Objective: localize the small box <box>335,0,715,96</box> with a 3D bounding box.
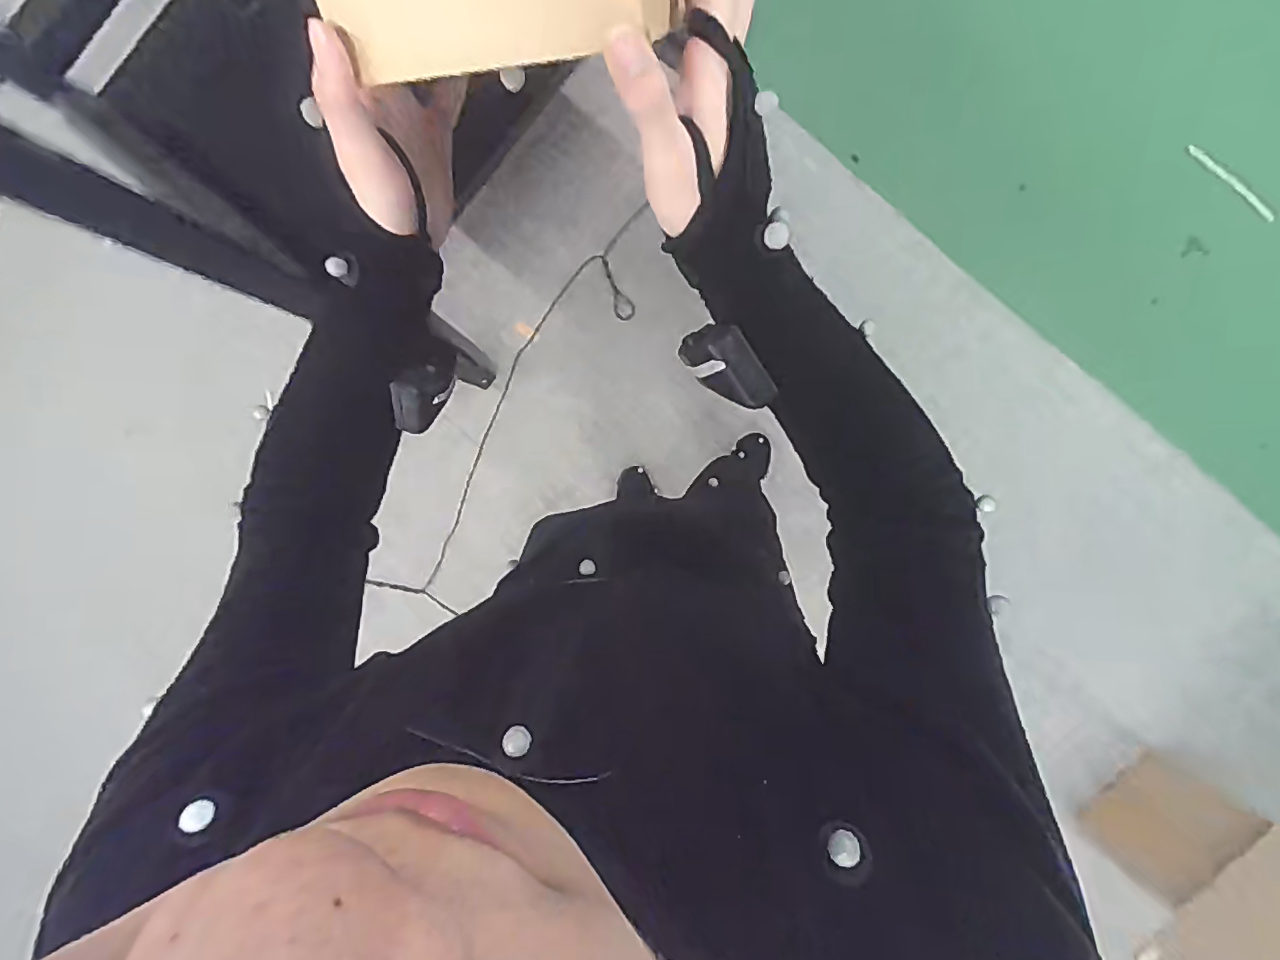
[{"bbox_3d":[-0.055,-0.318,0.271,0.168,0.176,0.179,5,132,15],"label":"small box"}]
